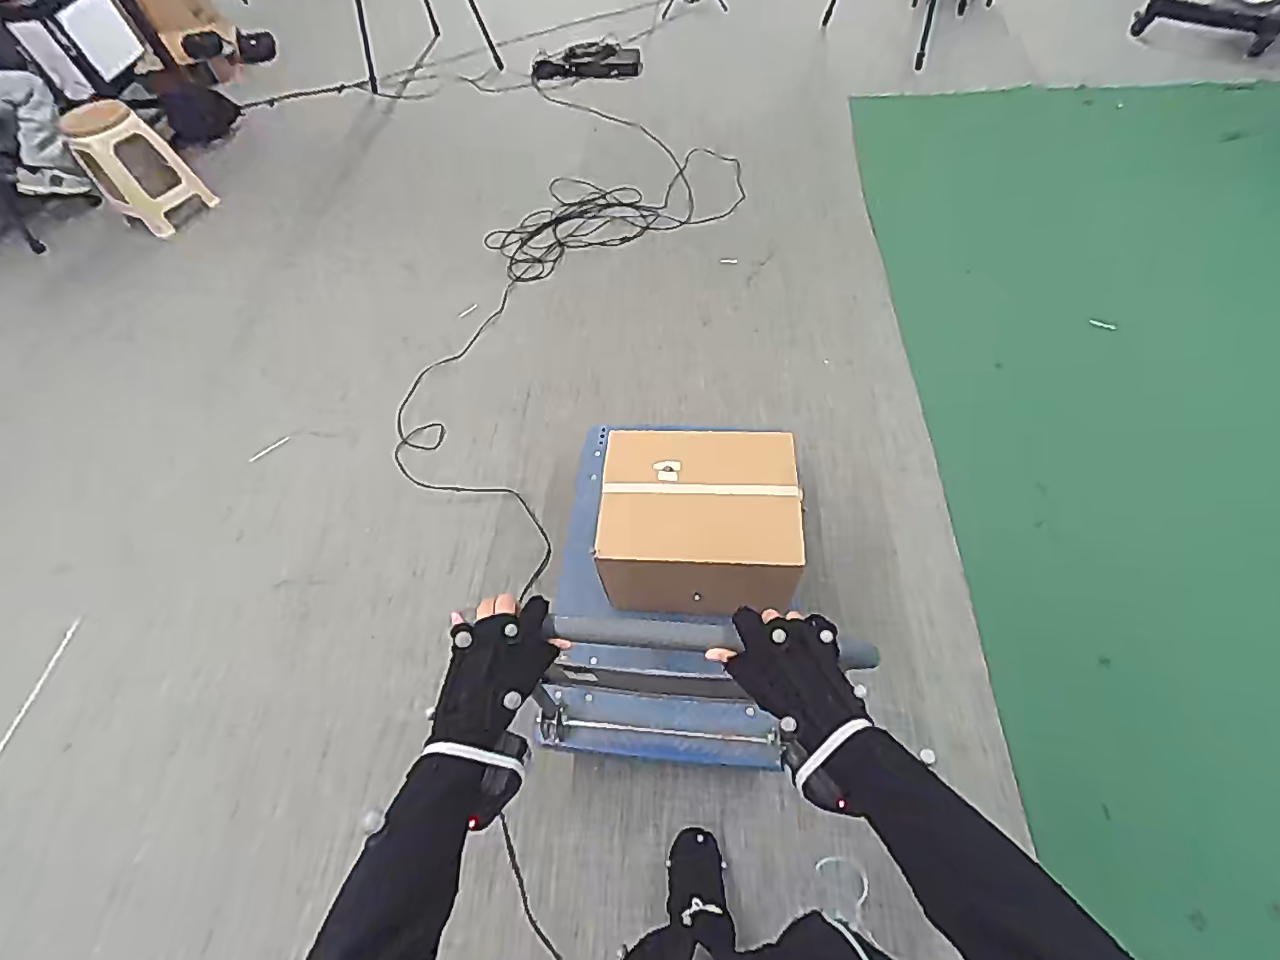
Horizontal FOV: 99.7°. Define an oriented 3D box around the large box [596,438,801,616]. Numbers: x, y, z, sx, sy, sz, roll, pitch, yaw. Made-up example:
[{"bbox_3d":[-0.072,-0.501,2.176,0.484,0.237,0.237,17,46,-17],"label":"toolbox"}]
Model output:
[{"bbox_3d":[0.136,0.117,1.249,0.408,0.320,0.320,0,57,8],"label":"large box"}]
